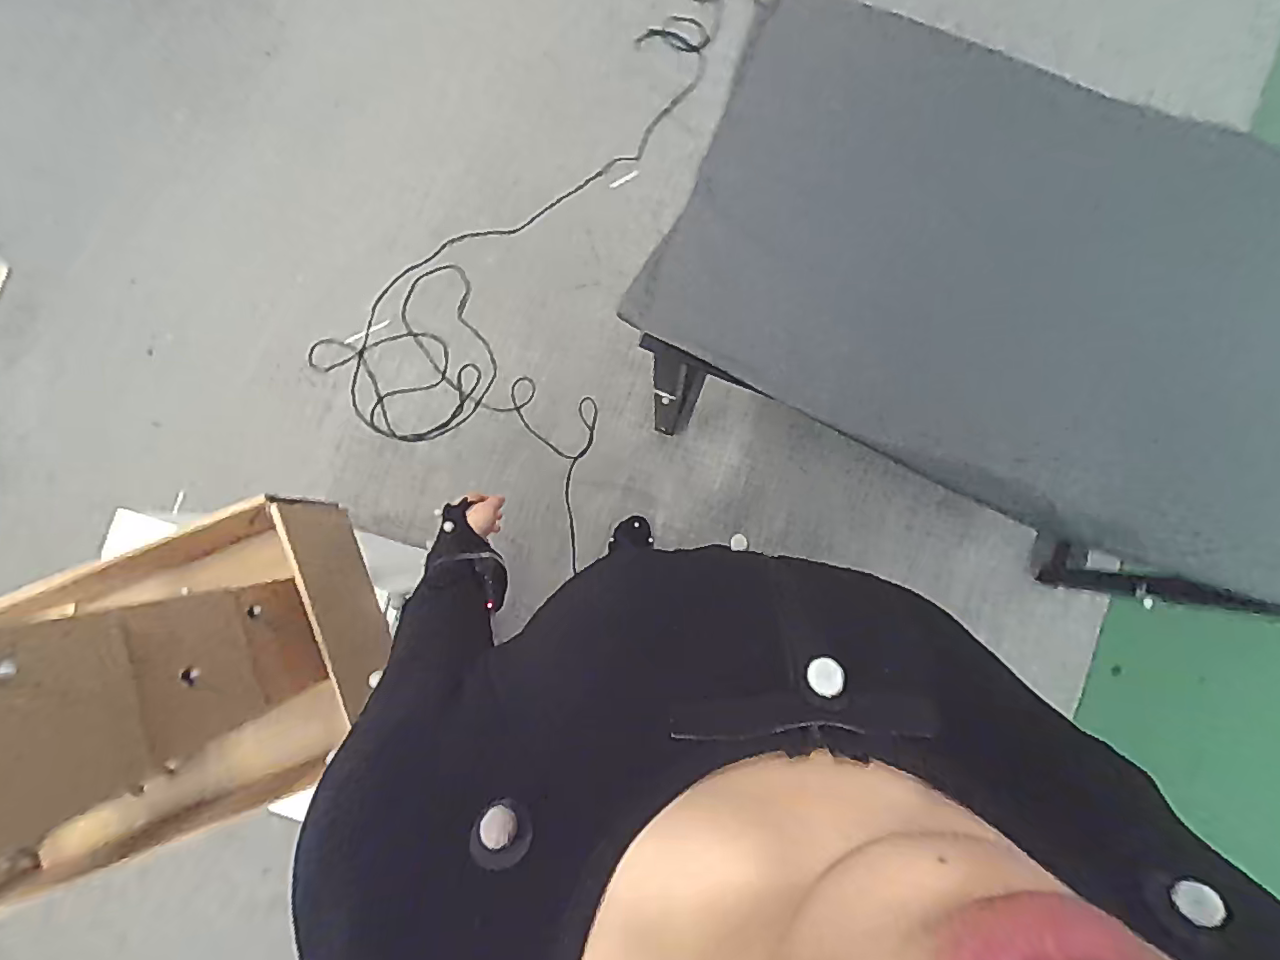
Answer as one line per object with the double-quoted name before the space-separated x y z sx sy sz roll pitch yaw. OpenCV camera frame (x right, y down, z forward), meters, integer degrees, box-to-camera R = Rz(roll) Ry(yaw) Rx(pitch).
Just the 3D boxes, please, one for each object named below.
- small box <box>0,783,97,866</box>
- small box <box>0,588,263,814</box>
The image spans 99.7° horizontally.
"small box" -0.809 0.371 0.623 0.179 0.176 0.168 44 88 2
"small box" -0.589 0.234 0.626 0.168 0.176 0.179 -20 87 2
